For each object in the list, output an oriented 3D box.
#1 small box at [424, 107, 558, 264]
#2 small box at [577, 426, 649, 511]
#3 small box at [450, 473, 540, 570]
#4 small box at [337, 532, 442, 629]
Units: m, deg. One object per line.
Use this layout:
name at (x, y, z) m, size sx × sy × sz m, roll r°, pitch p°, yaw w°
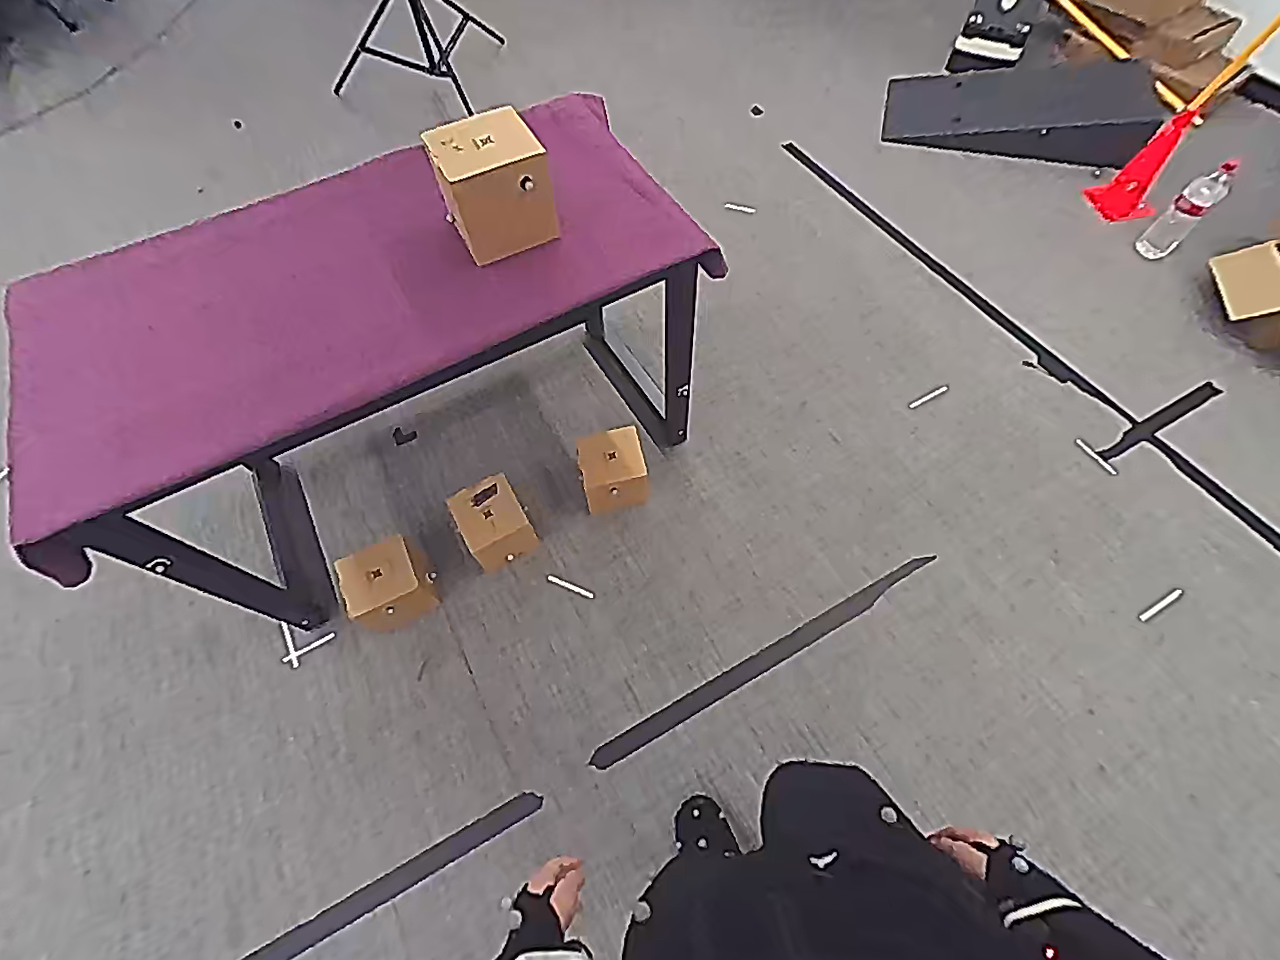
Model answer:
small box at (-0.263, -0.537, 0.996) m, size 0.179 × 0.176 × 0.168 m, roll -26°, pitch 64°, yaw -10°
small box at (-0.074, -0.029, 1.549) m, size 0.179 × 0.176 × 0.168 m, roll -12°, pitch 63°, yaw -3°
small box at (-0.392, 0.118, 1.483) m, size 0.168 × 0.176 × 0.179 m, roll -28°, pitch 66°, yaw -12°
small box at (-0.650, 0.268, 1.417) m, size 0.179 × 0.176 × 0.168 m, roll -26°, pitch 66°, yaw -12°
